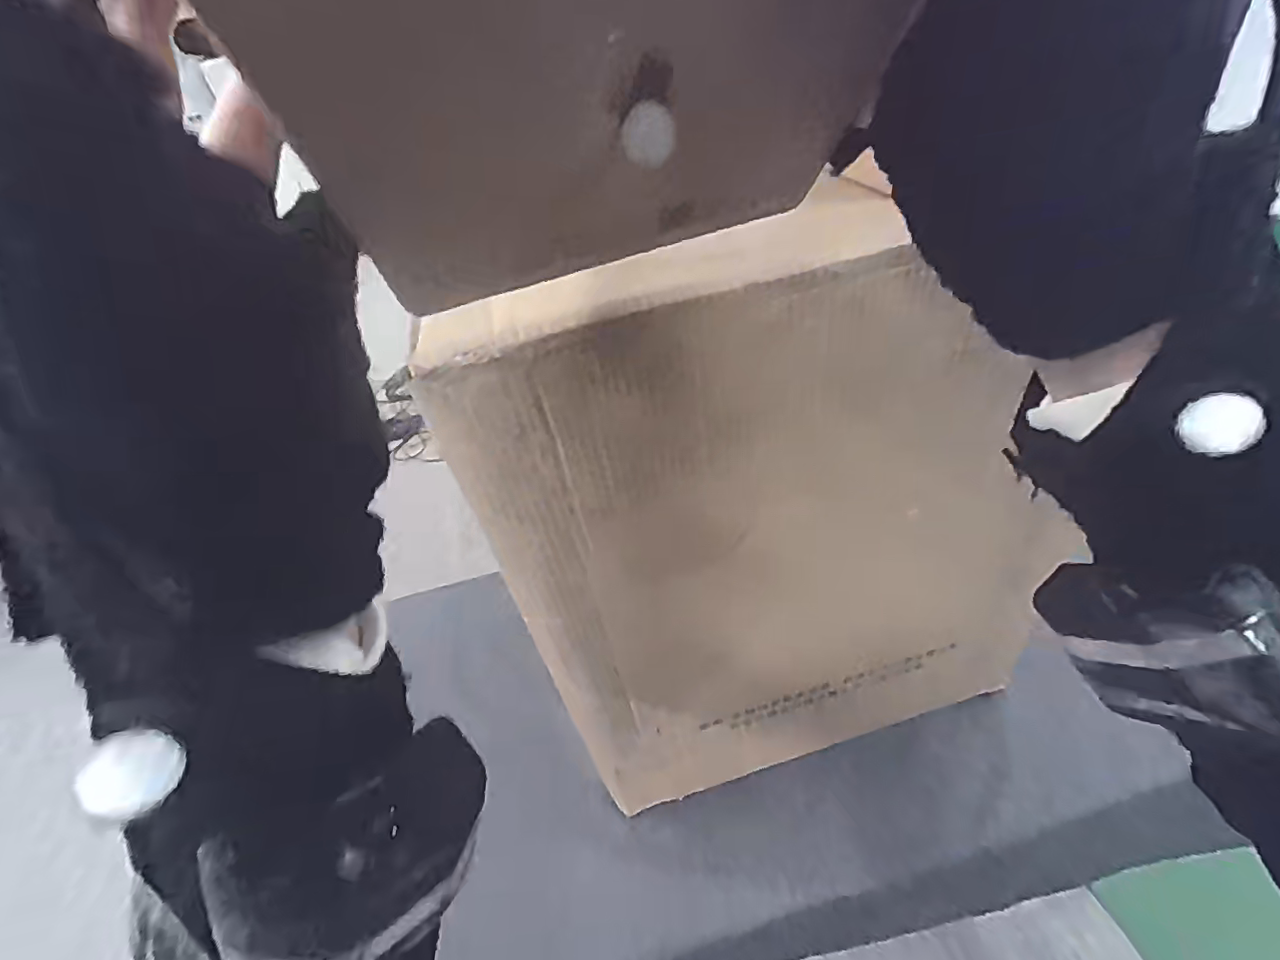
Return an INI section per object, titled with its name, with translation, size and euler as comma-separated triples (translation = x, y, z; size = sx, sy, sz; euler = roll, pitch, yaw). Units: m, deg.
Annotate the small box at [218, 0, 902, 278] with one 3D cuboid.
[small box]
translation = -0.028, -0.179, 0.148
size = 0.168, 0.176, 0.179
euler = -19, 84, -9
